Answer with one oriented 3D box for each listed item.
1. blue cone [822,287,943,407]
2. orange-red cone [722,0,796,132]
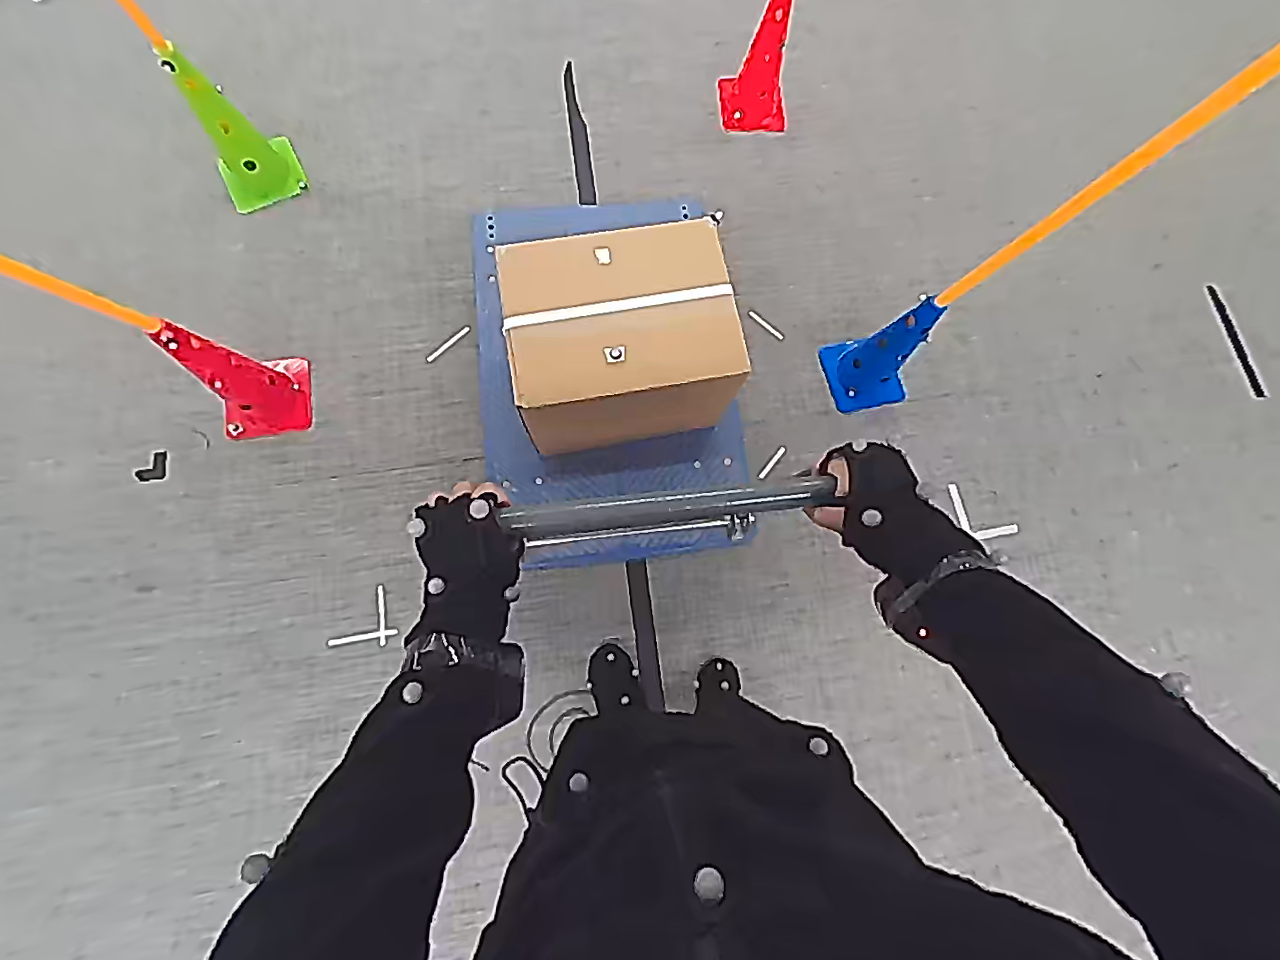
[{"bbox_3d":[0.620,-0.338,1.325,0.193,0.380,0.192,-11,76,-7],"label":"blue cone"},{"bbox_3d":[0.364,-1.195,1.497,0.199,0.360,0.198,-1,77,-5],"label":"orange-red cone"}]
